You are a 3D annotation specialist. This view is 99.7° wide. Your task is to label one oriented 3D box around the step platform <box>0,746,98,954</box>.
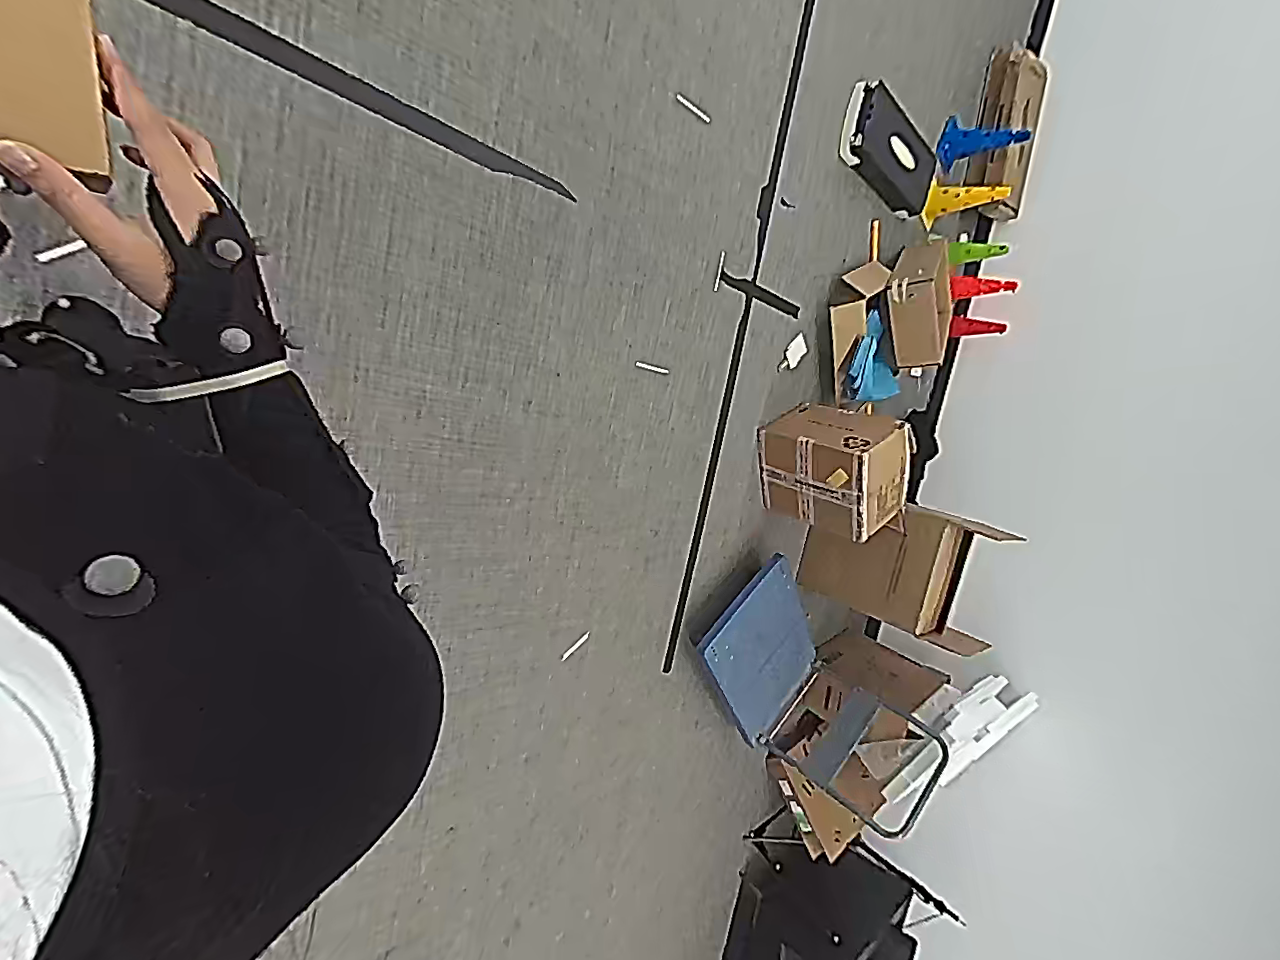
[{"bbox_3d":[-1.317,0.671,0.828,0.684,0.204,0.286,3,102,-44],"label":"step platform"}]
